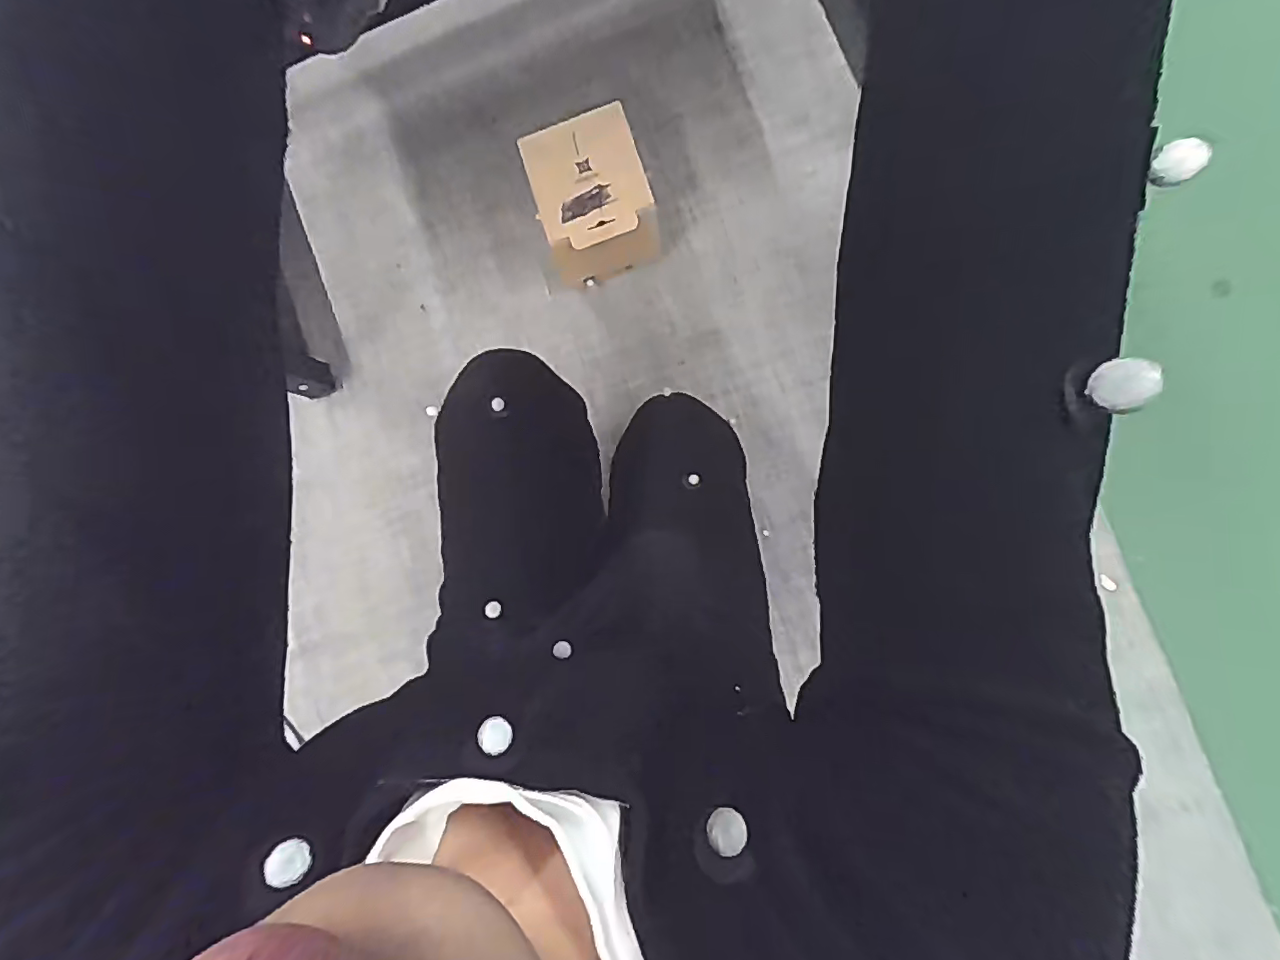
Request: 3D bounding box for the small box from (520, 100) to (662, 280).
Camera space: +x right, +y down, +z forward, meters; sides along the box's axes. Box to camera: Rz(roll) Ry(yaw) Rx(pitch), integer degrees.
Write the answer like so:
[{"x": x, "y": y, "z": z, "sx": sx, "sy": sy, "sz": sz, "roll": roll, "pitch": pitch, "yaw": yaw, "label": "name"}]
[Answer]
[{"x": -0.069, "y": -0.447, "z": 0.871, "sx": 0.168, "sy": 0.176, "sz": 0.179, "roll": -18, "pitch": 84, "yaw": 5, "label": "small box"}]
